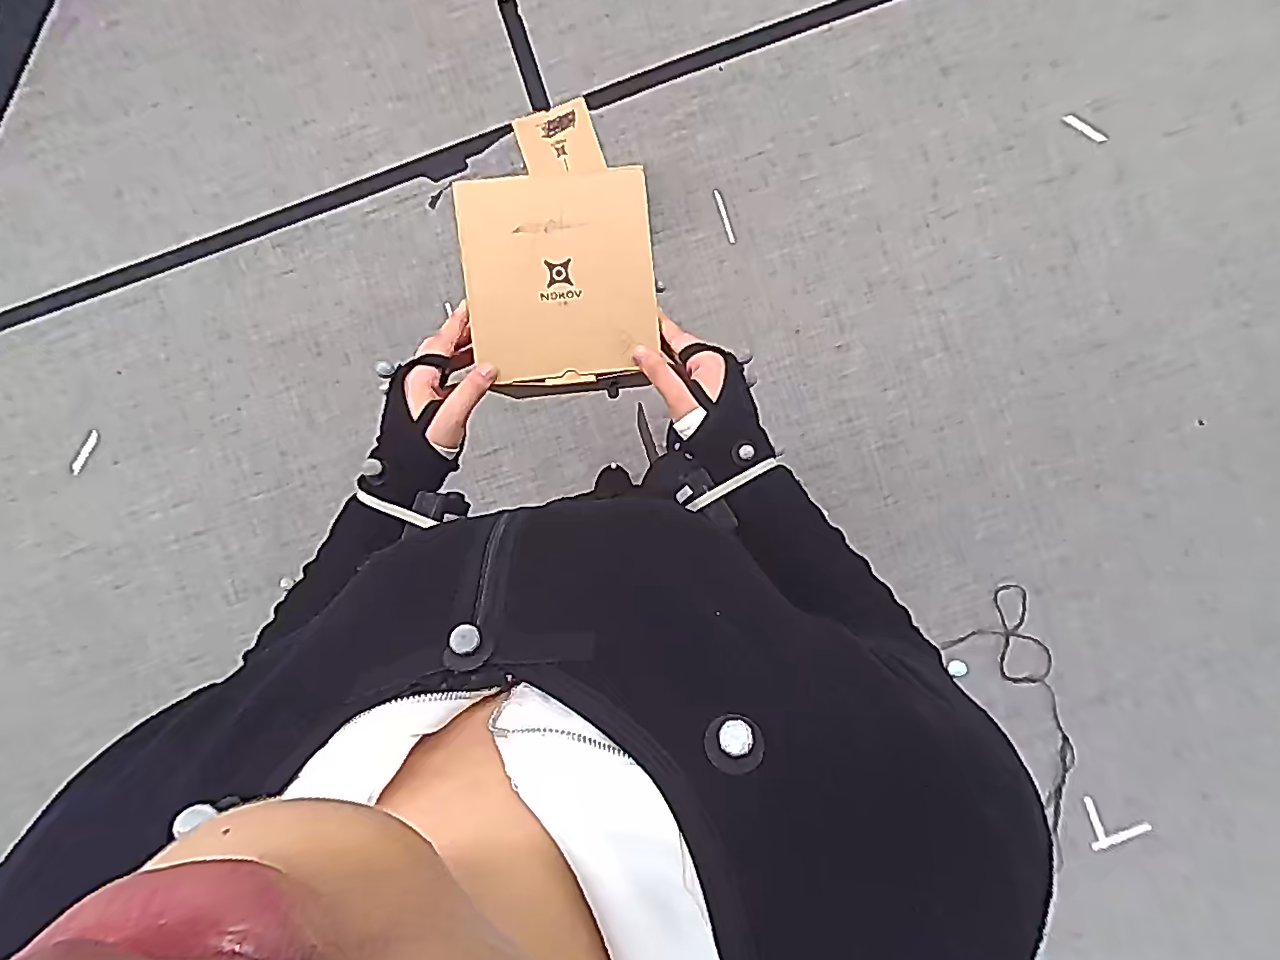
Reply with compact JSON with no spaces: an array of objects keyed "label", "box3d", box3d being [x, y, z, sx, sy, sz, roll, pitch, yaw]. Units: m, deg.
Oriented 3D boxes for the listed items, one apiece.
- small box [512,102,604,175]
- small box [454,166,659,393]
[{"label":"small box","box3d":[-0.176,-0.707,1.238,0.168,0.176,0.179,-19,93,0]},{"label":"small box","box3d":[-0.073,-0.184,0.549,0.168,0.176,0.179,-6,95,-3]}]
